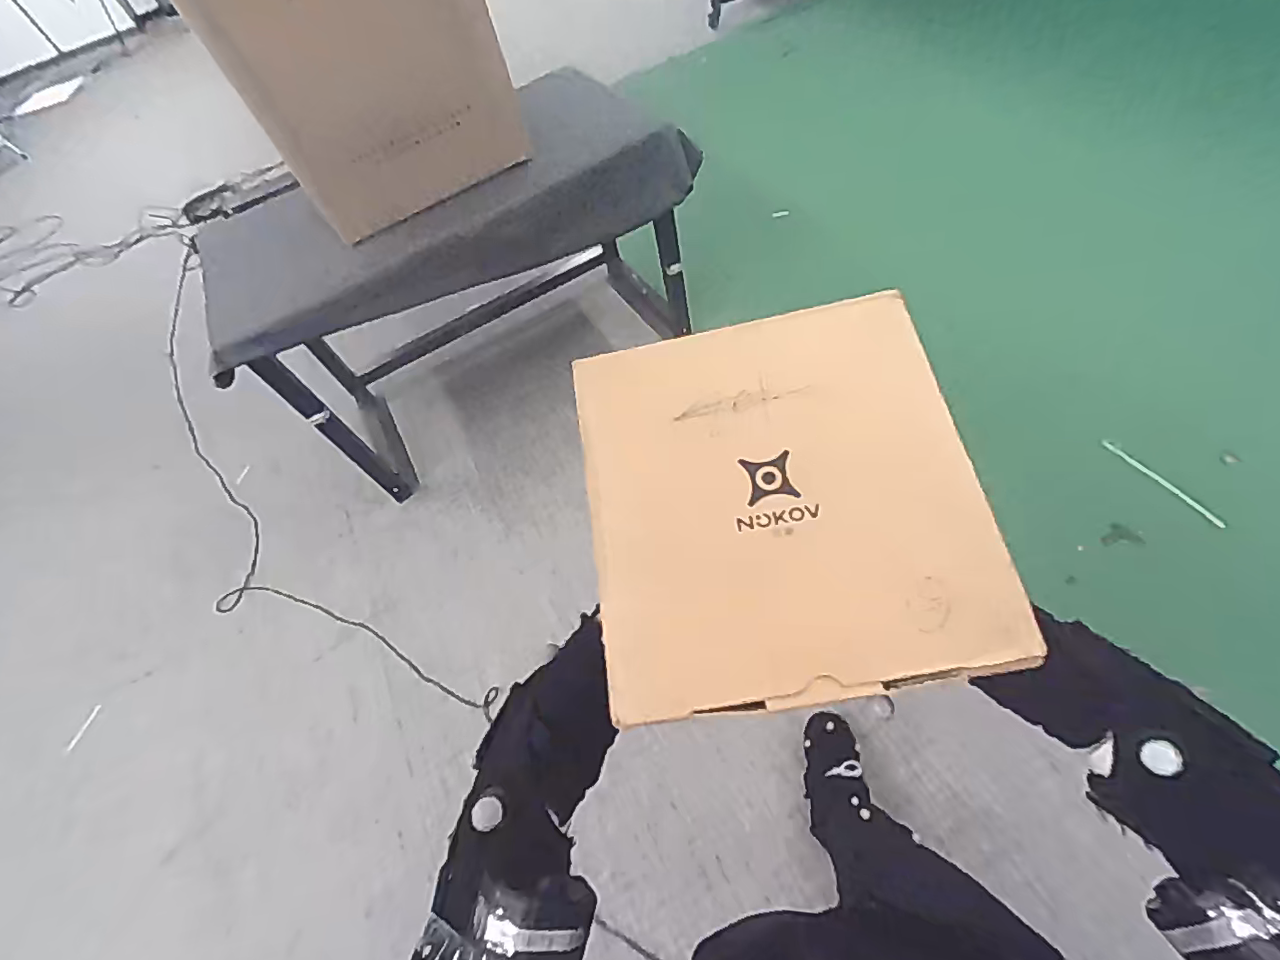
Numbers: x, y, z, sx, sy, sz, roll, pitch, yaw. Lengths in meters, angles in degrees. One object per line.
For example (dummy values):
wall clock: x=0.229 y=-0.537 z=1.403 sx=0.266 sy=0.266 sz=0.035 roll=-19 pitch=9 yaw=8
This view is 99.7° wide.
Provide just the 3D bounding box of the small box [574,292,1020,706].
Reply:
small box: x=0.068 y=0.028 z=0.319 sx=0.168 sy=0.176 sz=0.179 roll=-11 pitch=66 yaw=3
